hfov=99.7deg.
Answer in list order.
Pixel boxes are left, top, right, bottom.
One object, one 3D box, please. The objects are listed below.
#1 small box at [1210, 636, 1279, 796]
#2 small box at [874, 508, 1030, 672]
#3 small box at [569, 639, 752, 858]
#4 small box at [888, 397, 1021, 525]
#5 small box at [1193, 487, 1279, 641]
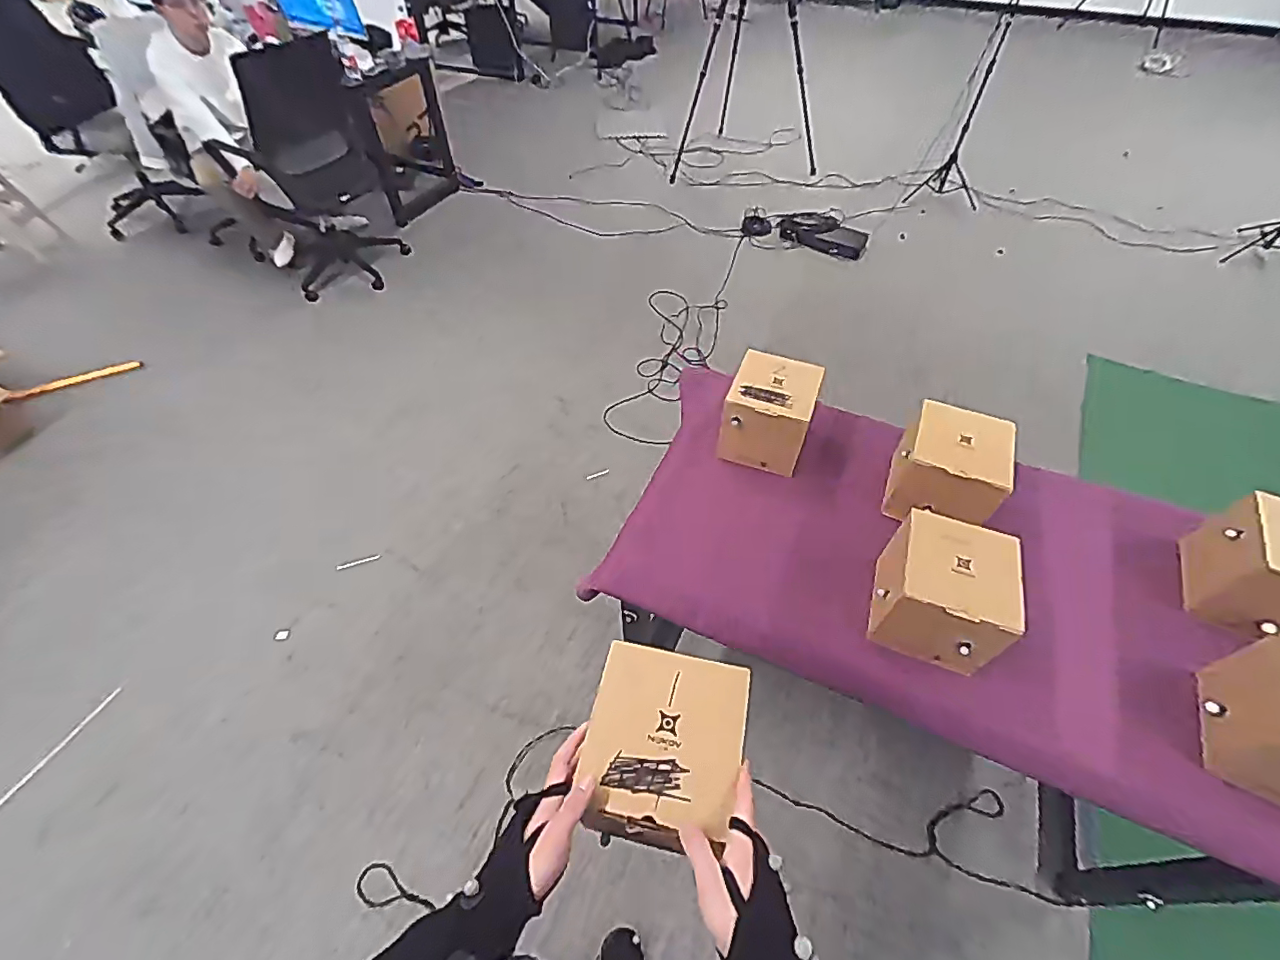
[{"bbox_3d":[0.933,0.340,0.729,0.168,0.176,0.179,24,54,19],"label":"small box"},{"bbox_3d":[0.492,0.180,0.870,0.168,0.176,0.179,18,52,14],"label":"small box"},{"bbox_3d":[0.031,0.315,0.629,0.168,0.176,0.179,9,51,9],"label":"small box"},{"bbox_3d":[0.594,-0.023,1.033,0.168,0.176,0.179,19,55,15],"label":"small box"},{"bbox_3d":[1.062,0.149,0.883,0.168,0.176,0.179,23,56,20],"label":"small box"}]
